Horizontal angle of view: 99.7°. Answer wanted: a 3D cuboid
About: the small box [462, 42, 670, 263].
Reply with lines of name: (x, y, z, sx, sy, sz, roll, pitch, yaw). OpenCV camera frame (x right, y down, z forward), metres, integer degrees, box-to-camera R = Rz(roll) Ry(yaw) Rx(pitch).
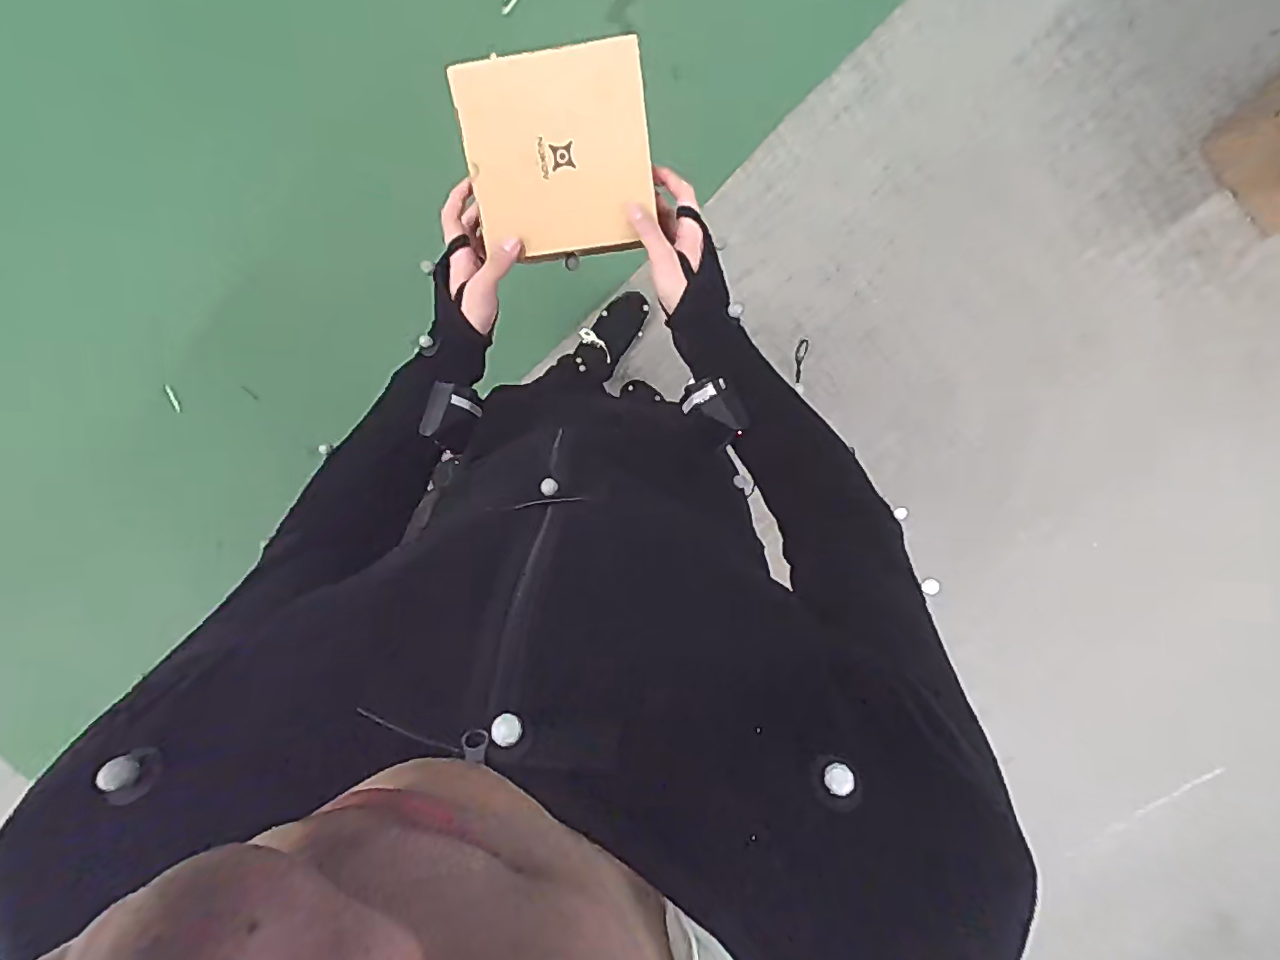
small box: (-0.064, -0.330, 0.579, 0.179, 0.176, 0.168, -6, 111, 4)
